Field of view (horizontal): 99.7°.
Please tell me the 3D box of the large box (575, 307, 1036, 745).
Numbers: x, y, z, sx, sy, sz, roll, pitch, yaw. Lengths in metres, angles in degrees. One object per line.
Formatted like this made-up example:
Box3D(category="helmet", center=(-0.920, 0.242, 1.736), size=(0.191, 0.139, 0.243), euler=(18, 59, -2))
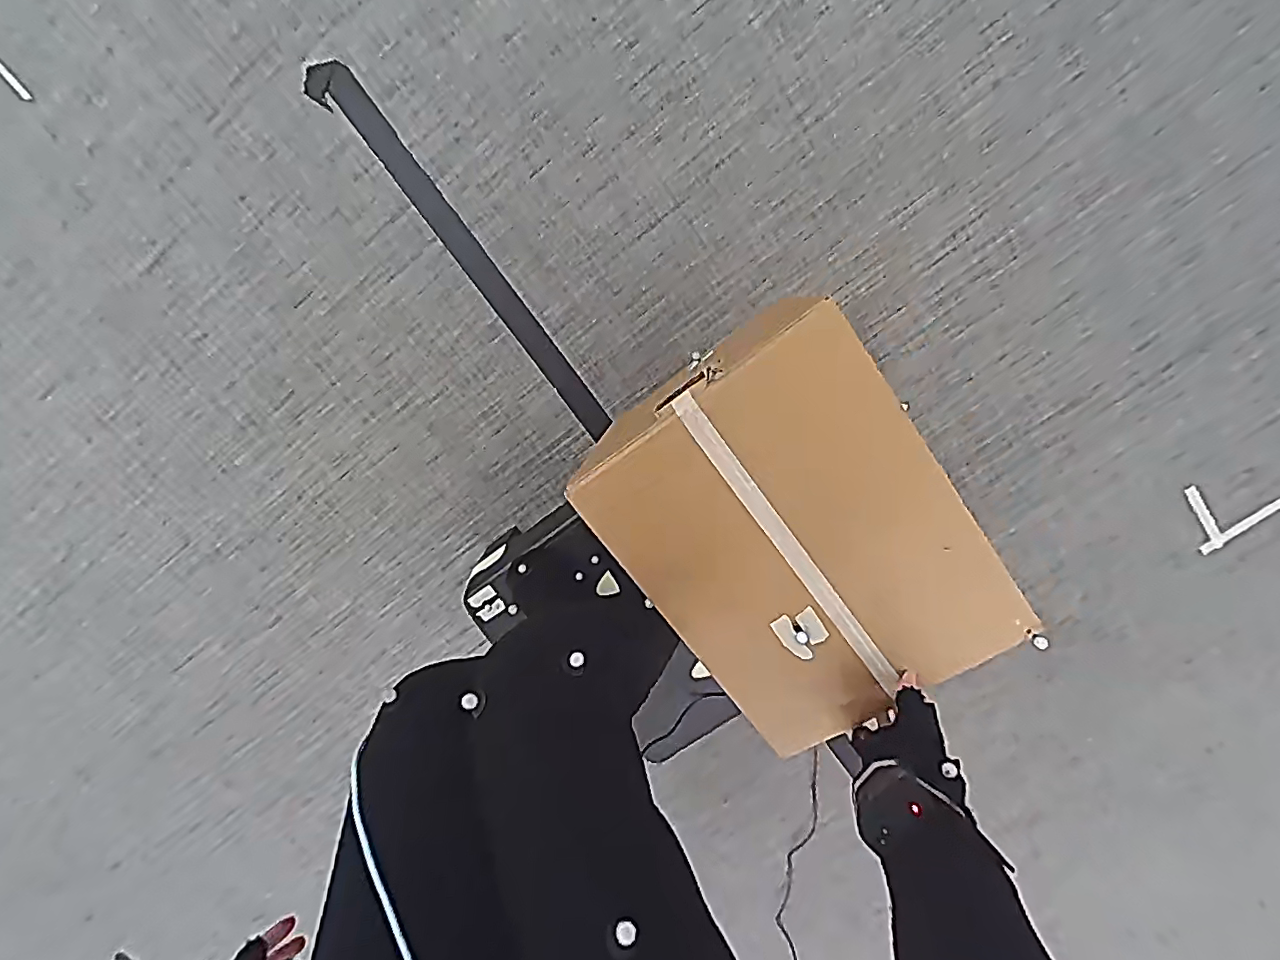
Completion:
Box3D(category="large box", center=(0.182, 0.033, 0.701), size=(0.320, 0.320, 0.408), euler=(-36, 102, 17))
